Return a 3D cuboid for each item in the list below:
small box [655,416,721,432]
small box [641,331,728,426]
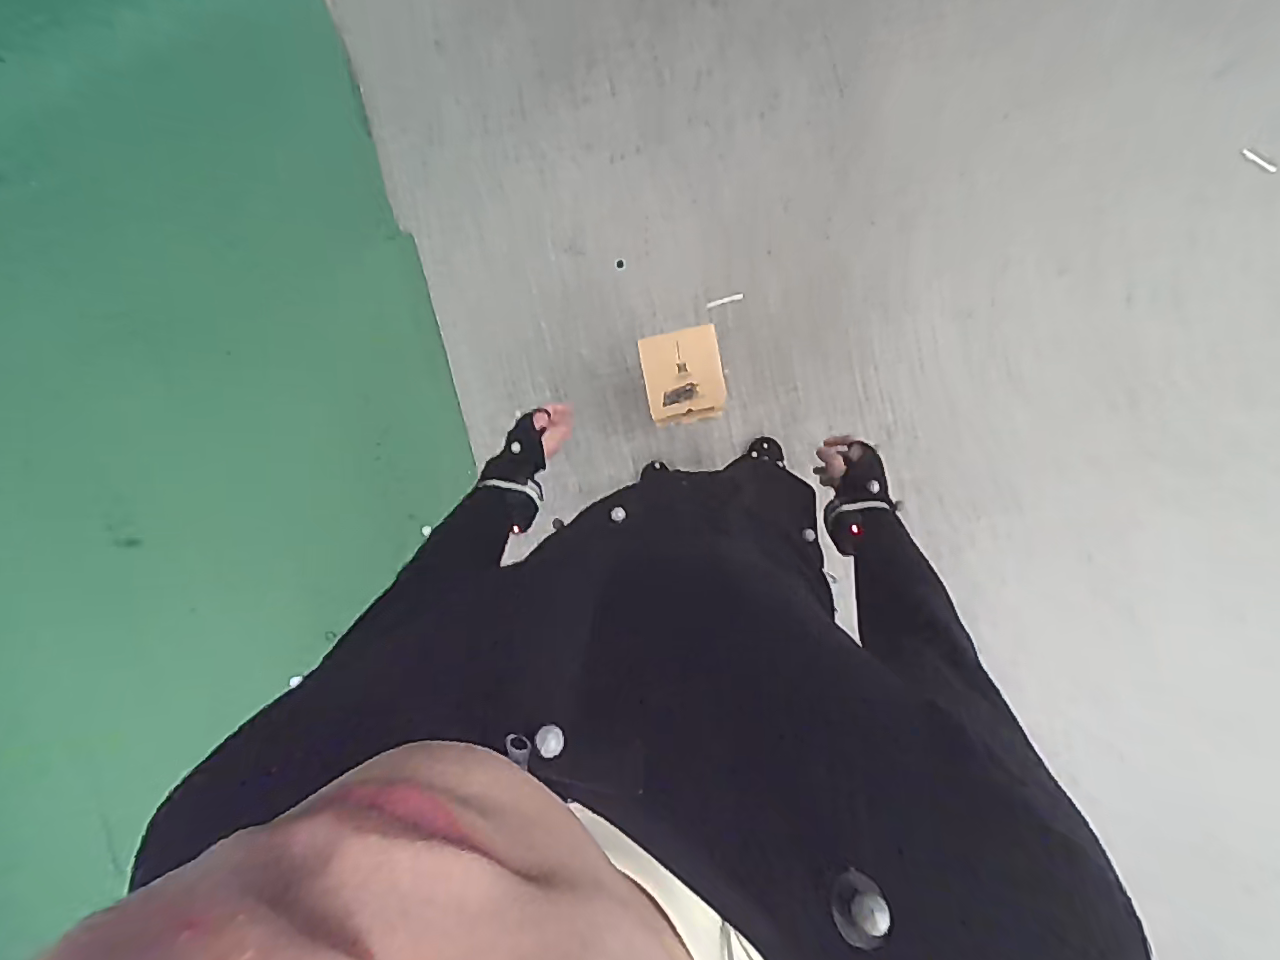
[{"bbox_3d":[0.114,-0.220,1.380,0.168,0.176,0.179,-10,93,7],"label":"small box"},{"bbox_3d":[0.104,-0.222,1.232,0.168,0.176,0.179,-10,92,7],"label":"small box"}]
